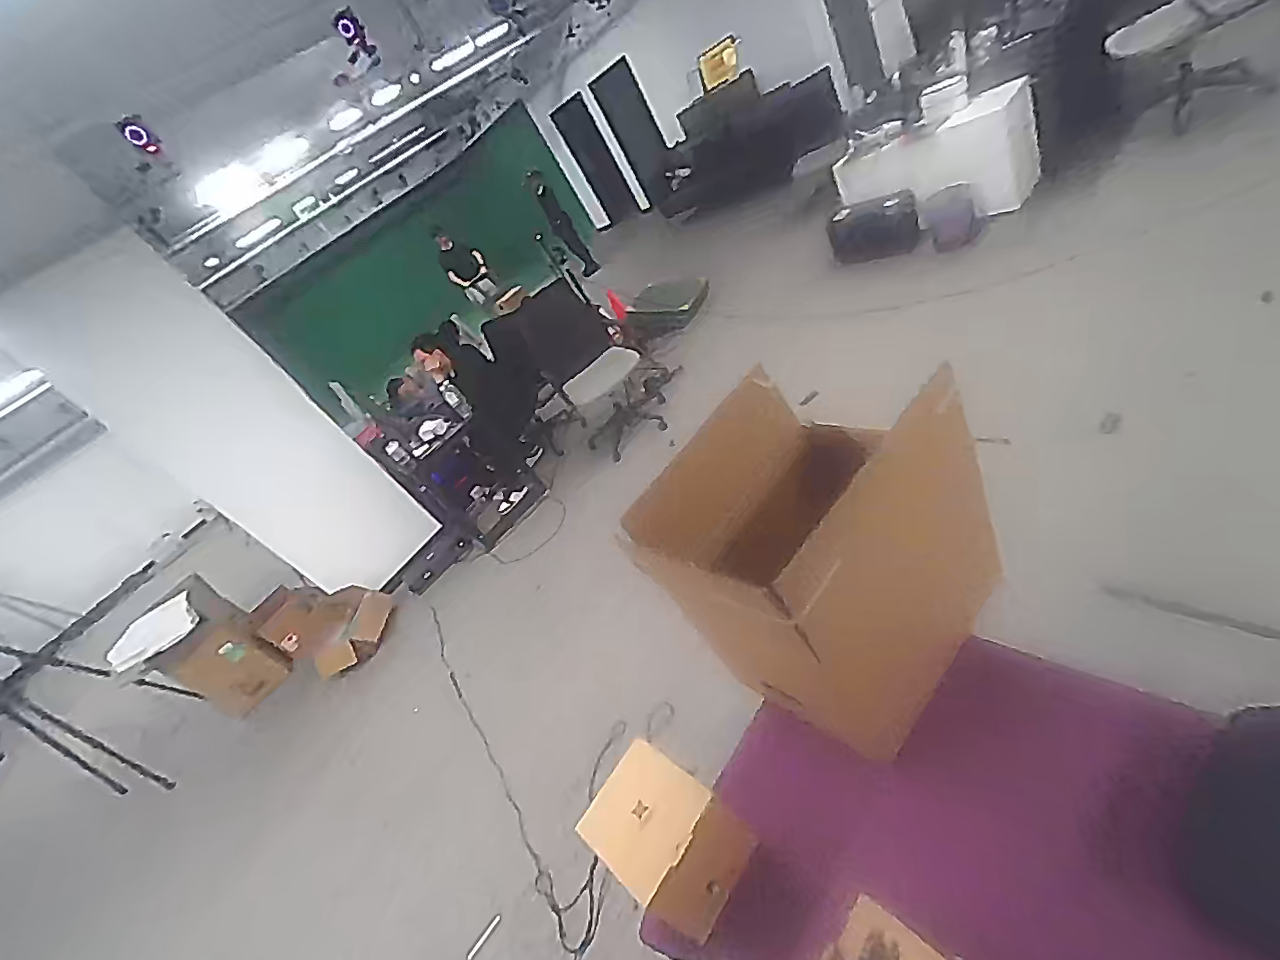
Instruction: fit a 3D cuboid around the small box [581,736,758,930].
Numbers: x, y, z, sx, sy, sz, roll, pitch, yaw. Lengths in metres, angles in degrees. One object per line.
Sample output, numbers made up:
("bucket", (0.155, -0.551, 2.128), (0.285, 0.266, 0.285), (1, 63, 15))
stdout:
("small box", (0.048, 0.544, 0.839), (0.179, 0.176, 0.168), (11, 54, 50))
